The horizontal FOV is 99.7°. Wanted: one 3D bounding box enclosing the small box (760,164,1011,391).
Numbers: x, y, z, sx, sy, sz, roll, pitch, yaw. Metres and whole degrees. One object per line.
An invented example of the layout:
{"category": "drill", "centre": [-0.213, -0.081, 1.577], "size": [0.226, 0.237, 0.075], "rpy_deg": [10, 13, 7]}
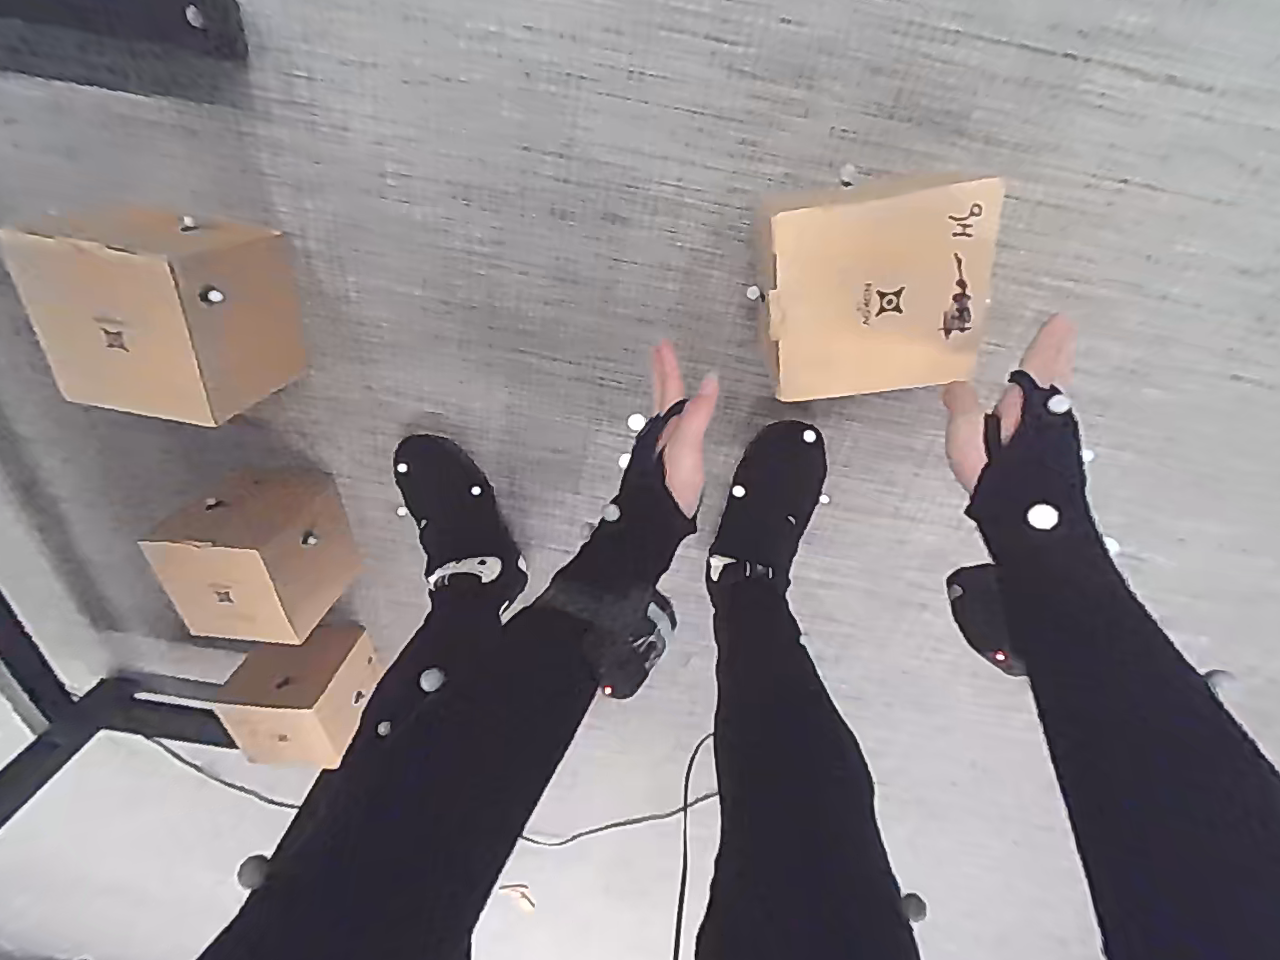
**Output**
{"category": "small box", "centre": [0.211, -0.199, 0.523], "size": [0.179, 0.176, 0.168], "rpy_deg": [-5, 121, 9]}

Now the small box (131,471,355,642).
{"category": "small box", "centre": [-0.542, 0.102, 0.771], "size": [0.168, 0.176, 0.179], "rpy_deg": [5, 122, 3]}

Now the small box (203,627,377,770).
{"category": "small box", "centre": [-0.583, 0.371, 0.936], "size": [0.179, 0.176, 0.168], "rpy_deg": [3, 121, 4]}

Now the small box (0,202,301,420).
{"category": "small box", "centre": [-0.506, -0.190, 0.591], "size": [0.168, 0.176, 0.179], "rpy_deg": [10, 121, -1]}
